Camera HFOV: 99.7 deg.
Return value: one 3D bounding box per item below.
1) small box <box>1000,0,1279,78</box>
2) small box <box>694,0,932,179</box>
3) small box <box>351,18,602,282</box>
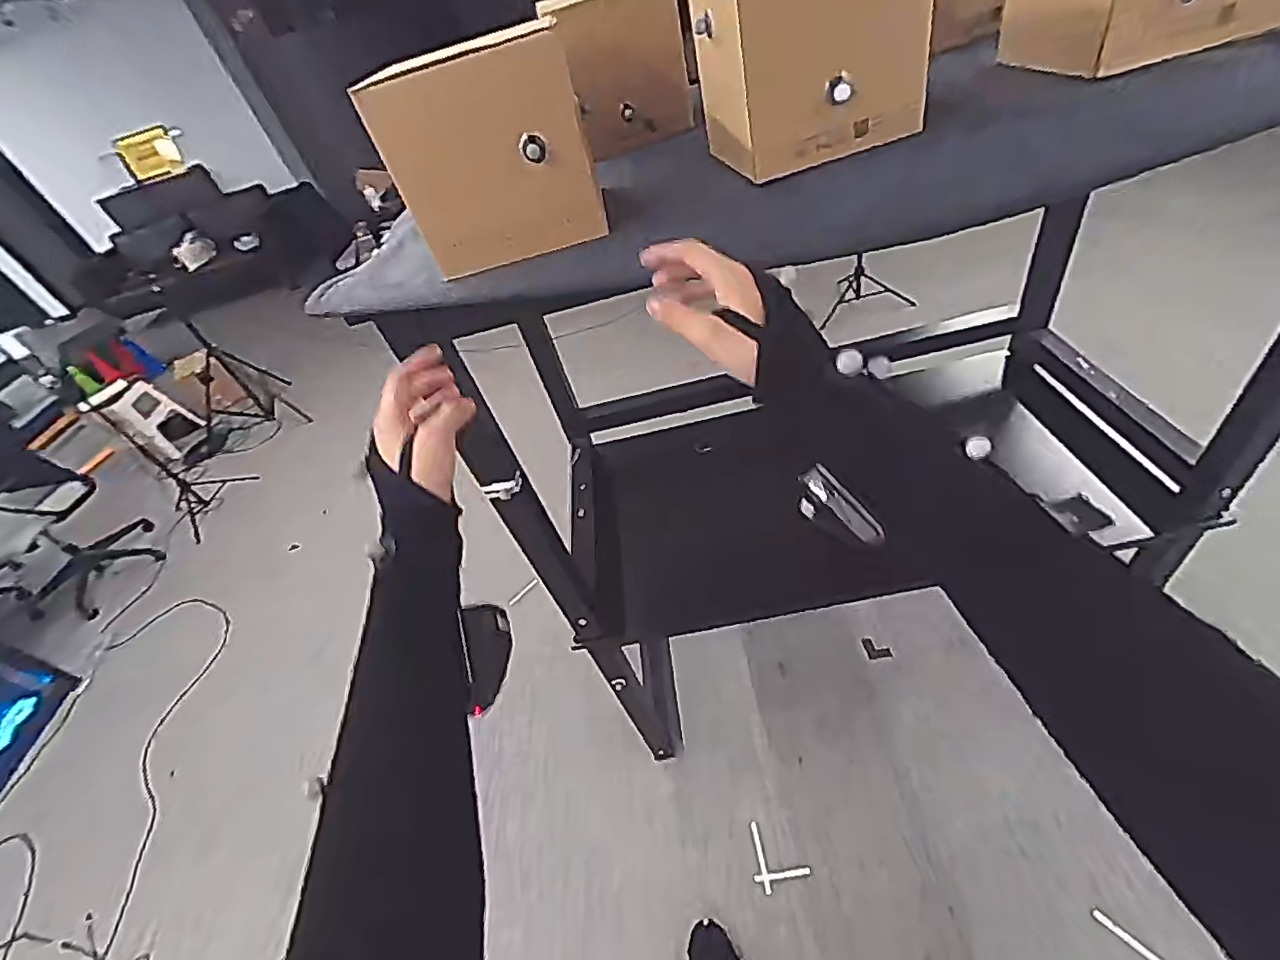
[{"bbox_3d":[0.480,-0.506,0.511,0.168,0.176,0.179,-13,42,6],"label":"small box"},{"bbox_3d":[0.156,-0.414,0.526,0.168,0.176,0.179,-17,41,2],"label":"small box"},{"bbox_3d":[-0.140,-0.324,0.538,0.179,0.176,0.168,-14,43,4],"label":"small box"}]
